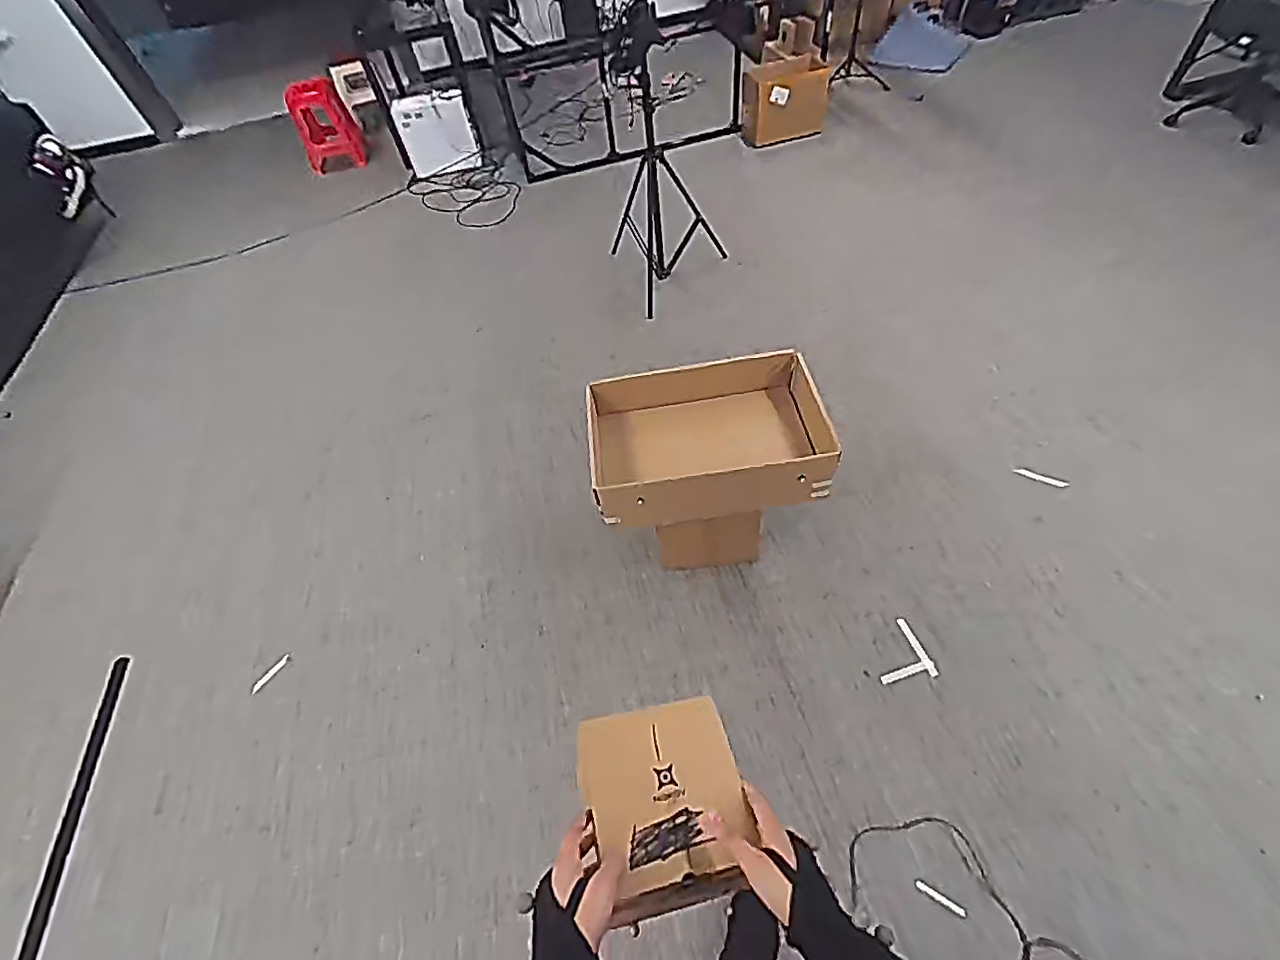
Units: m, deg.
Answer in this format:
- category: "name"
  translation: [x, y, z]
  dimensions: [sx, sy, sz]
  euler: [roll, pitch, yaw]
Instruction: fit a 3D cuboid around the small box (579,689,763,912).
- category: "small box"
  translation: [0.024, 0.378, 0.636]
  dimensions: [0.168, 0.176, 0.179]
  euler: [-7, 44, -12]
